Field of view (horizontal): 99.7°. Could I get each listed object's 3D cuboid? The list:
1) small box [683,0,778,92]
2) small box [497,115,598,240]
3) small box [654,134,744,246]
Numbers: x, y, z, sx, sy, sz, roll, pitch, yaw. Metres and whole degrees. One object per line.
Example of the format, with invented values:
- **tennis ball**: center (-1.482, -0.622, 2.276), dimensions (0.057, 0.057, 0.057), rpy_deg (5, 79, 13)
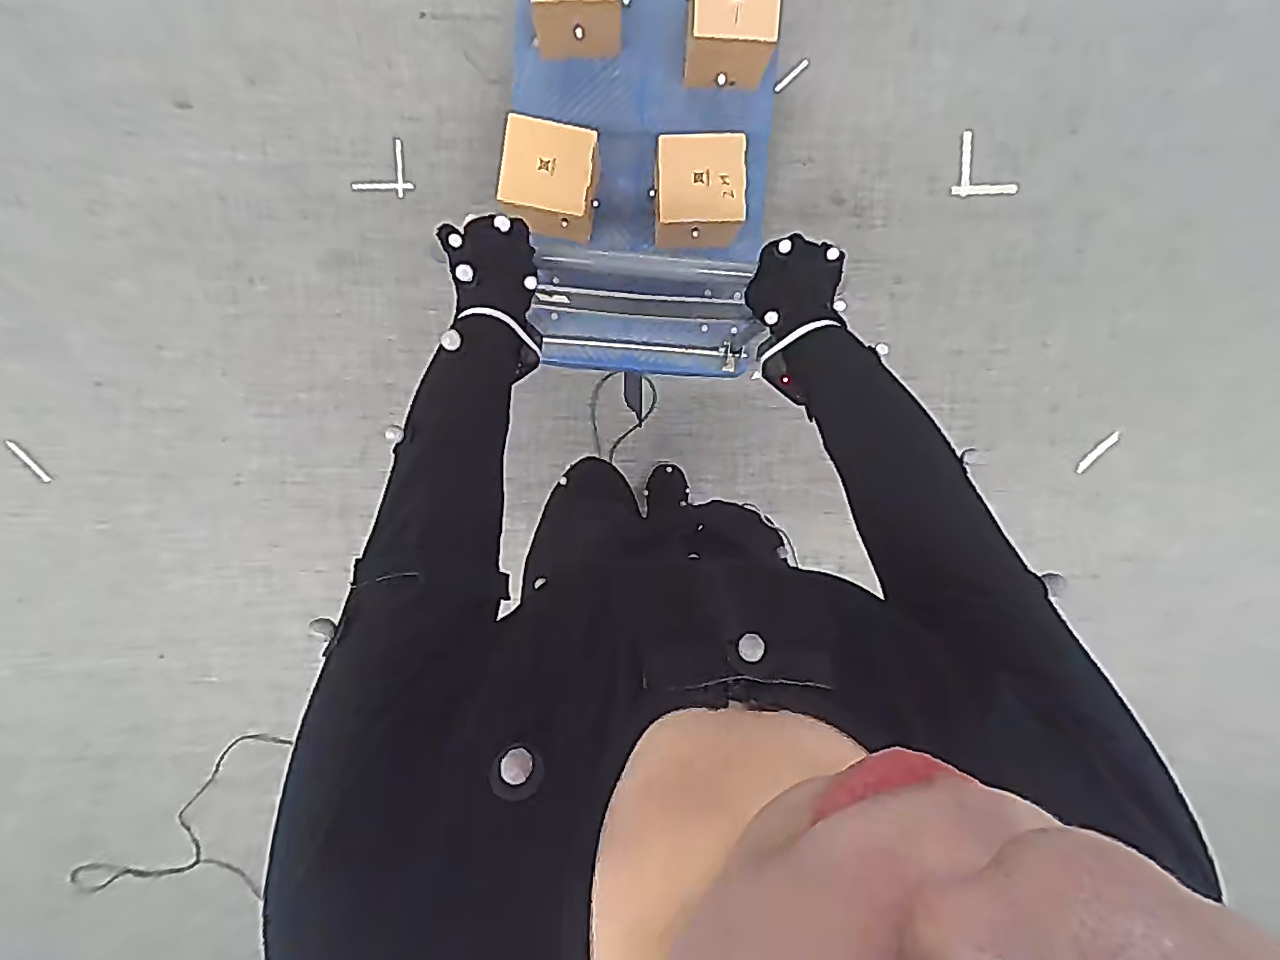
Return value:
- **small box**: center (0.182, -0.946, 1.112), dimensions (0.168, 0.176, 0.179), rpy_deg (2, 98, -2)
- **small box**: center (-0.188, -0.627, 1.143), dimensions (0.179, 0.176, 0.168), rpy_deg (9, 96, -4)
- **small box**: center (0.119, -0.609, 1.154), dimensions (0.179, 0.176, 0.168), rpy_deg (-2, 98, -1)
